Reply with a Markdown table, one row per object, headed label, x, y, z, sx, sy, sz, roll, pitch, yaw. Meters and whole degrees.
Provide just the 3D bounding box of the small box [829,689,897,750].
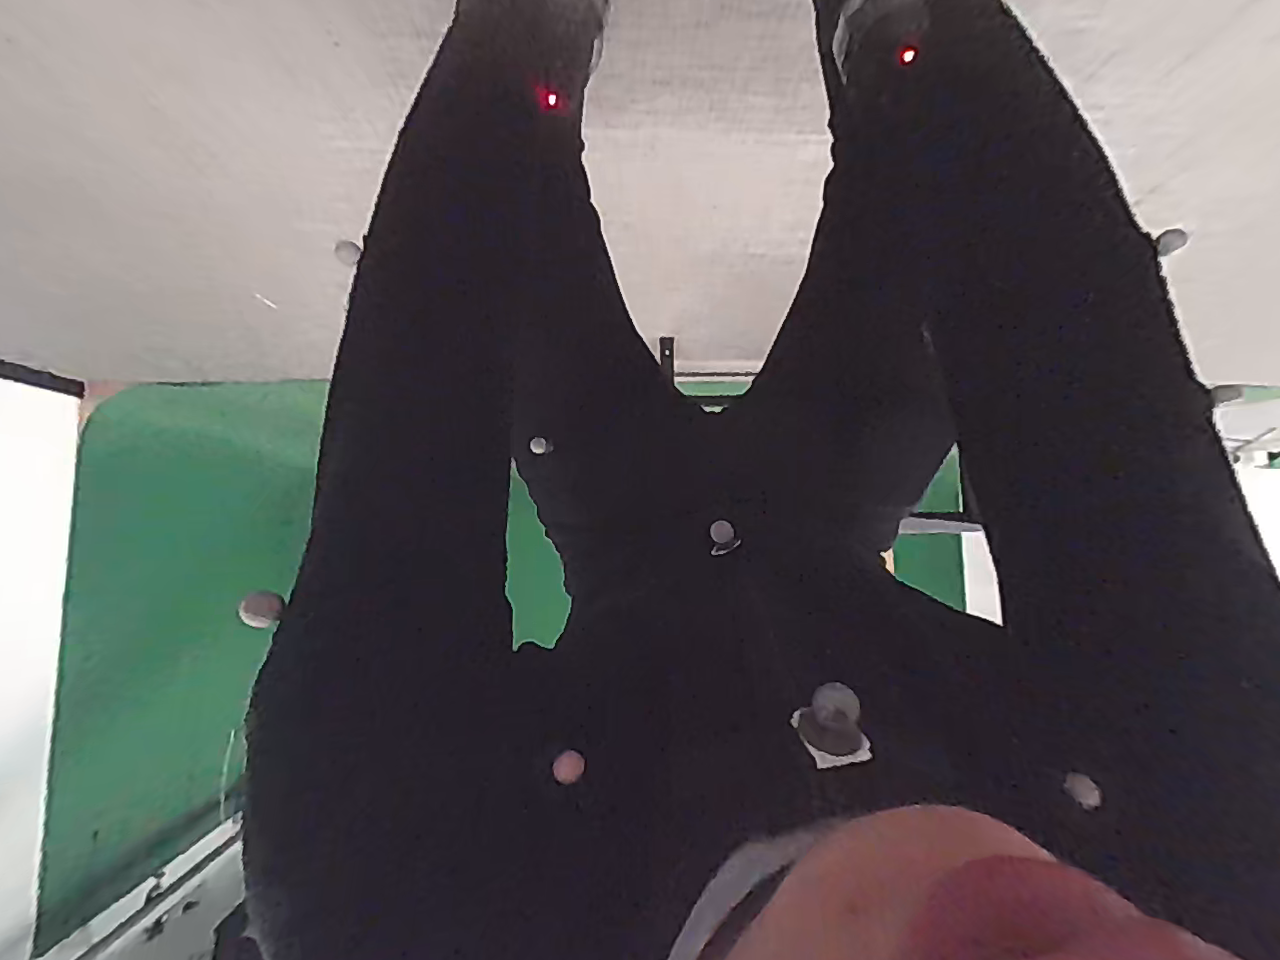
| label | x | y | z | sx | sy | sz | roll | pitch | yaw |
| --- | --- | --- | --- | --- | --- | --- | --- | --- | --- |
| small box | 0.835 | 0.893 | 2.035 | 0.179 | 0.176 | 0.168 | -1 | 172 | -8 |
